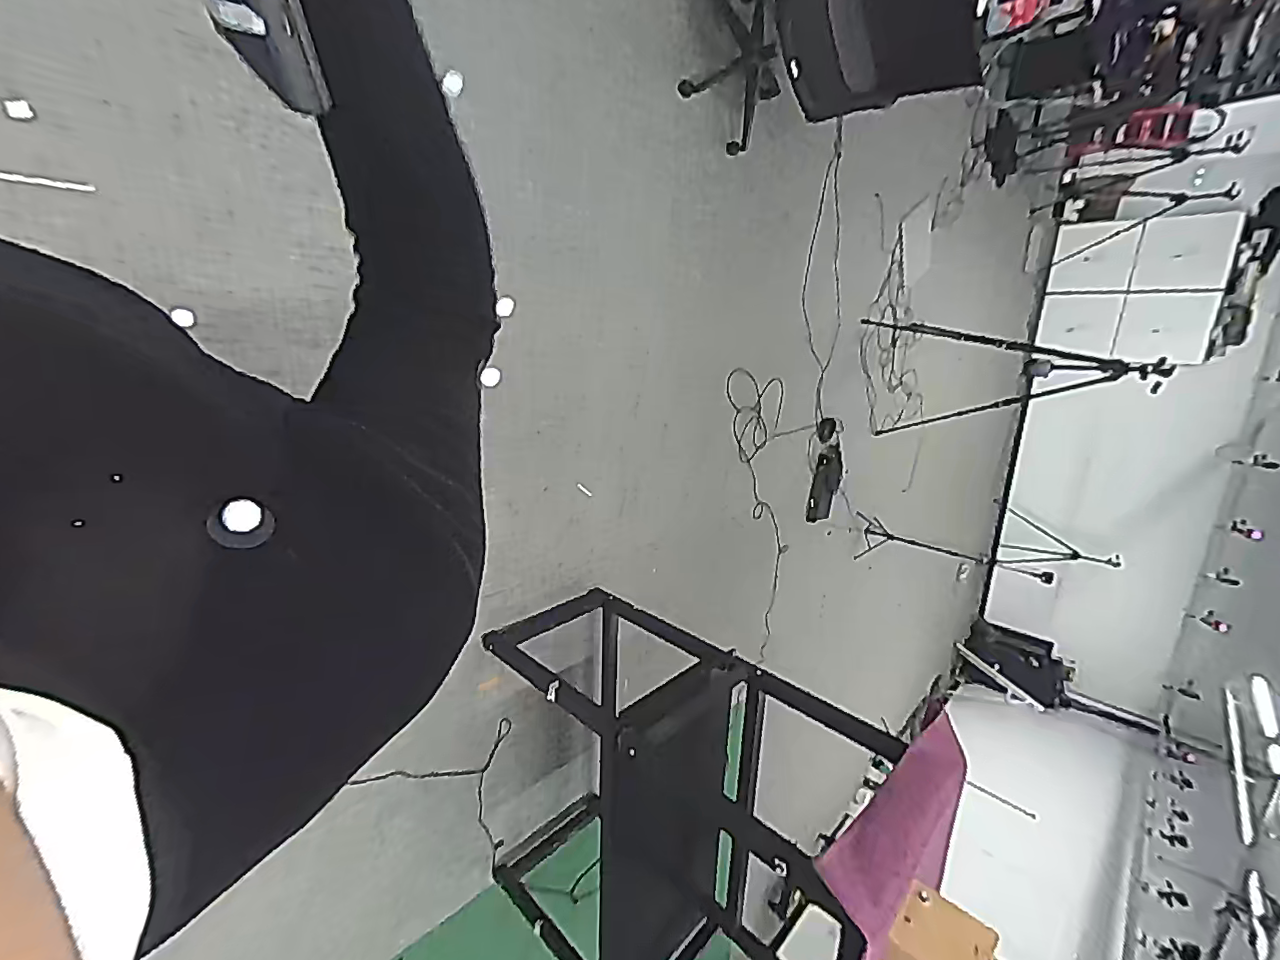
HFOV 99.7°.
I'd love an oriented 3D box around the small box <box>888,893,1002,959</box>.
[{"bbox_3d":[0.613,1.002,1.106,0.168,0.176,0.179,-17,114,-43],"label":"small box"}]
